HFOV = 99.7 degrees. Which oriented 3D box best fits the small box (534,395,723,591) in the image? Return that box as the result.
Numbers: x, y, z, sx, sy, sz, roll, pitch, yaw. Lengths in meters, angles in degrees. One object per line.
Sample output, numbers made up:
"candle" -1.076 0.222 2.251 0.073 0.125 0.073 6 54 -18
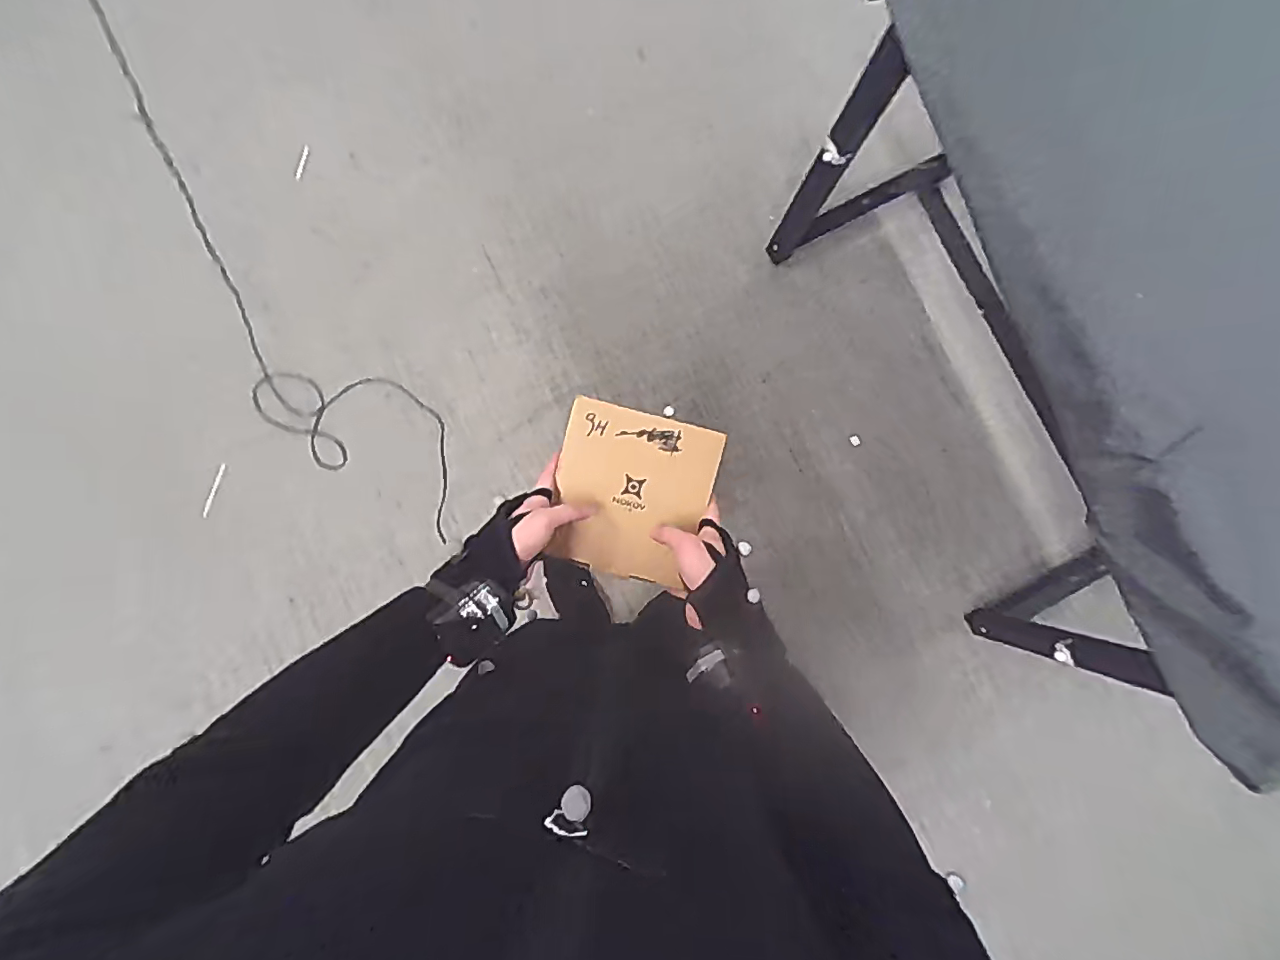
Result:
"small box" -0.012 0.006 0.641 0.168 0.176 0.179 14 96 -2
